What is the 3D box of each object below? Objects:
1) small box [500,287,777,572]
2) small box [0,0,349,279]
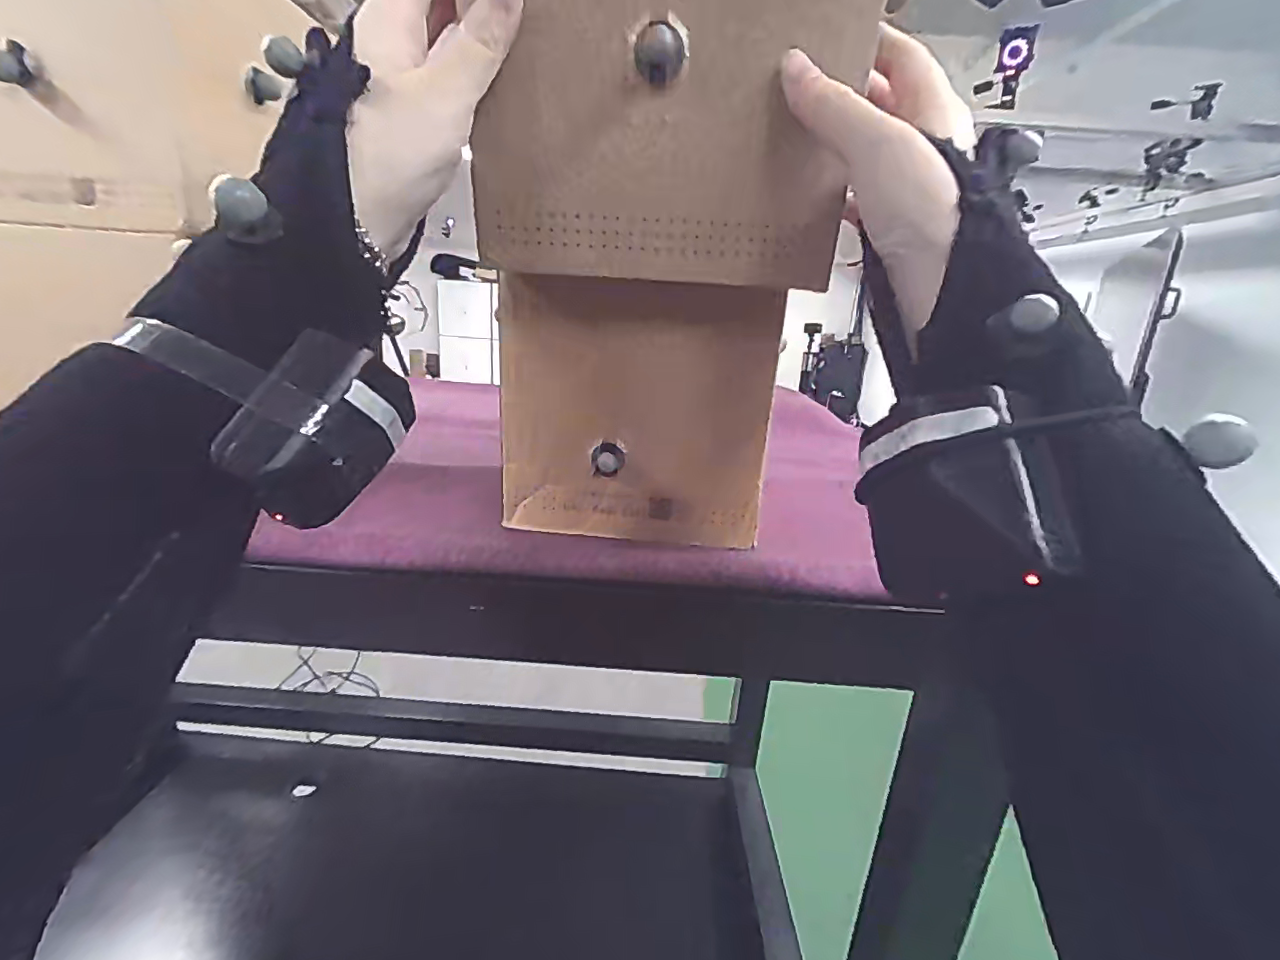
[{"bbox_3d":[-0.002,-0.049,0.413,0.168,0.176,0.179,5,19,3],"label":"small box"},{"bbox_3d":[-0.328,-0.232,0.375,0.168,0.176,0.179,4,18,2],"label":"small box"}]
